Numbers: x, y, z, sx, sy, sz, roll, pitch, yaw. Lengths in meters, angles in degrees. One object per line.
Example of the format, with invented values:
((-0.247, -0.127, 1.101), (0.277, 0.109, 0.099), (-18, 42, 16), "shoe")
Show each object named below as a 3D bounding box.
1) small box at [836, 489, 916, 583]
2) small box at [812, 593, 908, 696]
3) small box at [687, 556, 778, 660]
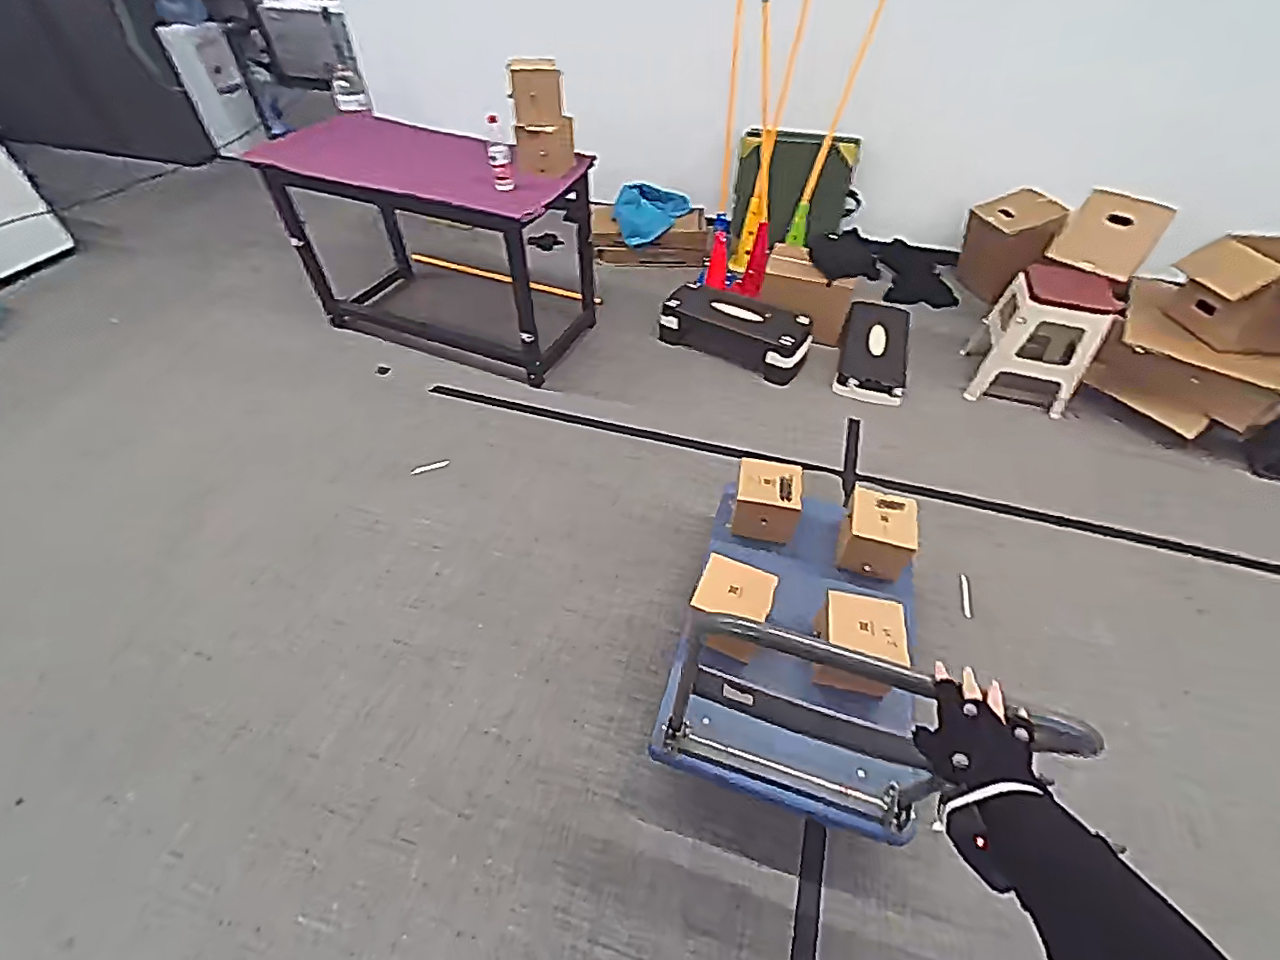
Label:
((0.660, 0.159, 1.521), (0.168, 0.176, 0.179), (14, 51, 12), "small box")
((0.520, 0.399, 1.303), (0.179, 0.176, 0.168), (10, 49, 8), "small box")
((0.228, 0.326, 1.363), (0.179, 0.176, 0.168), (20, 50, 14), "small box")
